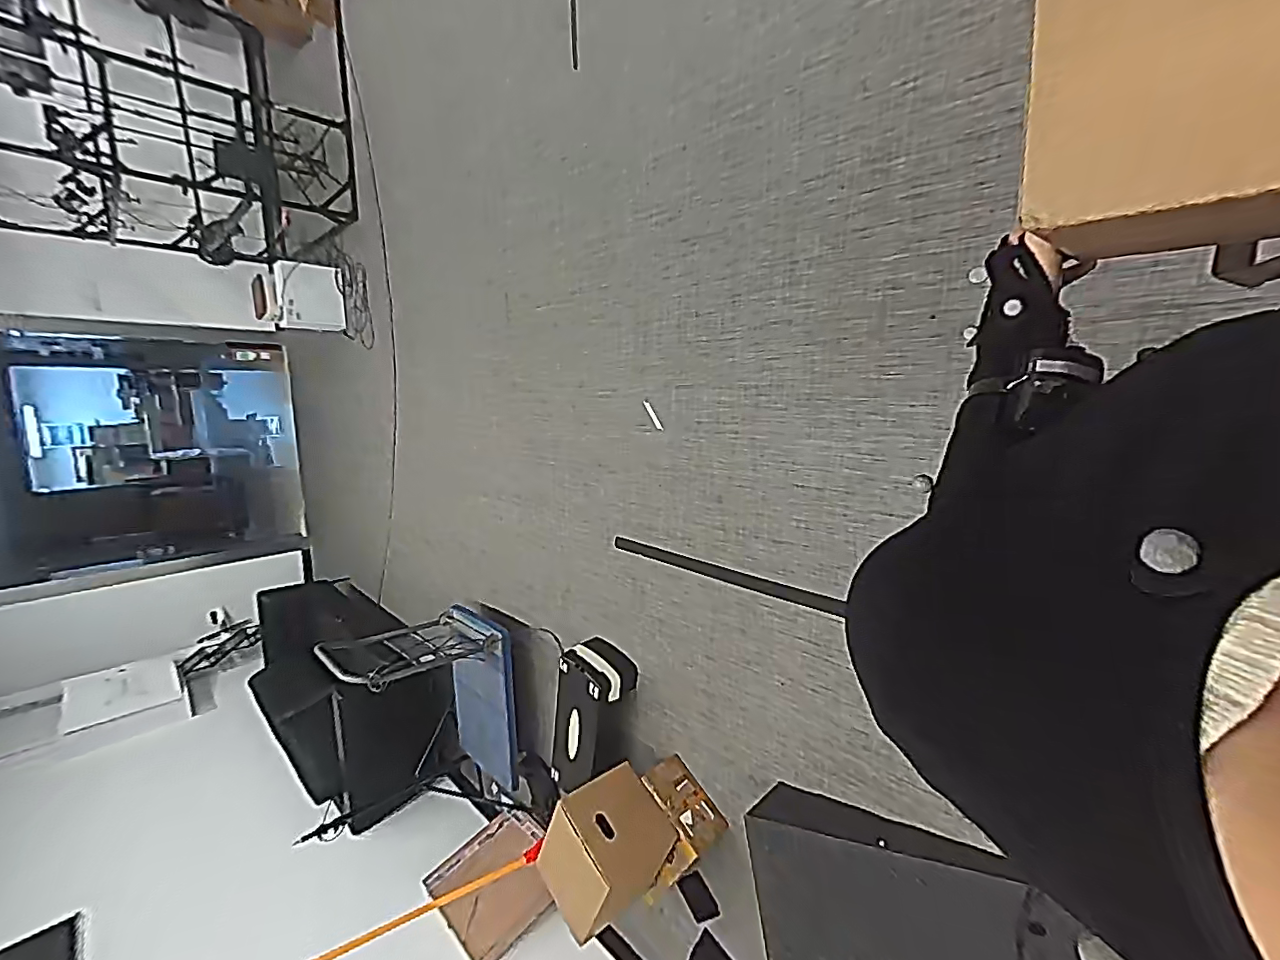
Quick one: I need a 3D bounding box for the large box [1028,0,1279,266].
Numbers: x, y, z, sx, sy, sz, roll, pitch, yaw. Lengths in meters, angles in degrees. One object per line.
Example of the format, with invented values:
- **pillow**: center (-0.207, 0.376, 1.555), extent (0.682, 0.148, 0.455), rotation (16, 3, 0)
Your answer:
- **large box**: center (0.435, -0.296, 0.232), extent (0.408, 0.320, 0.320), rotation (7, 109, 41)
